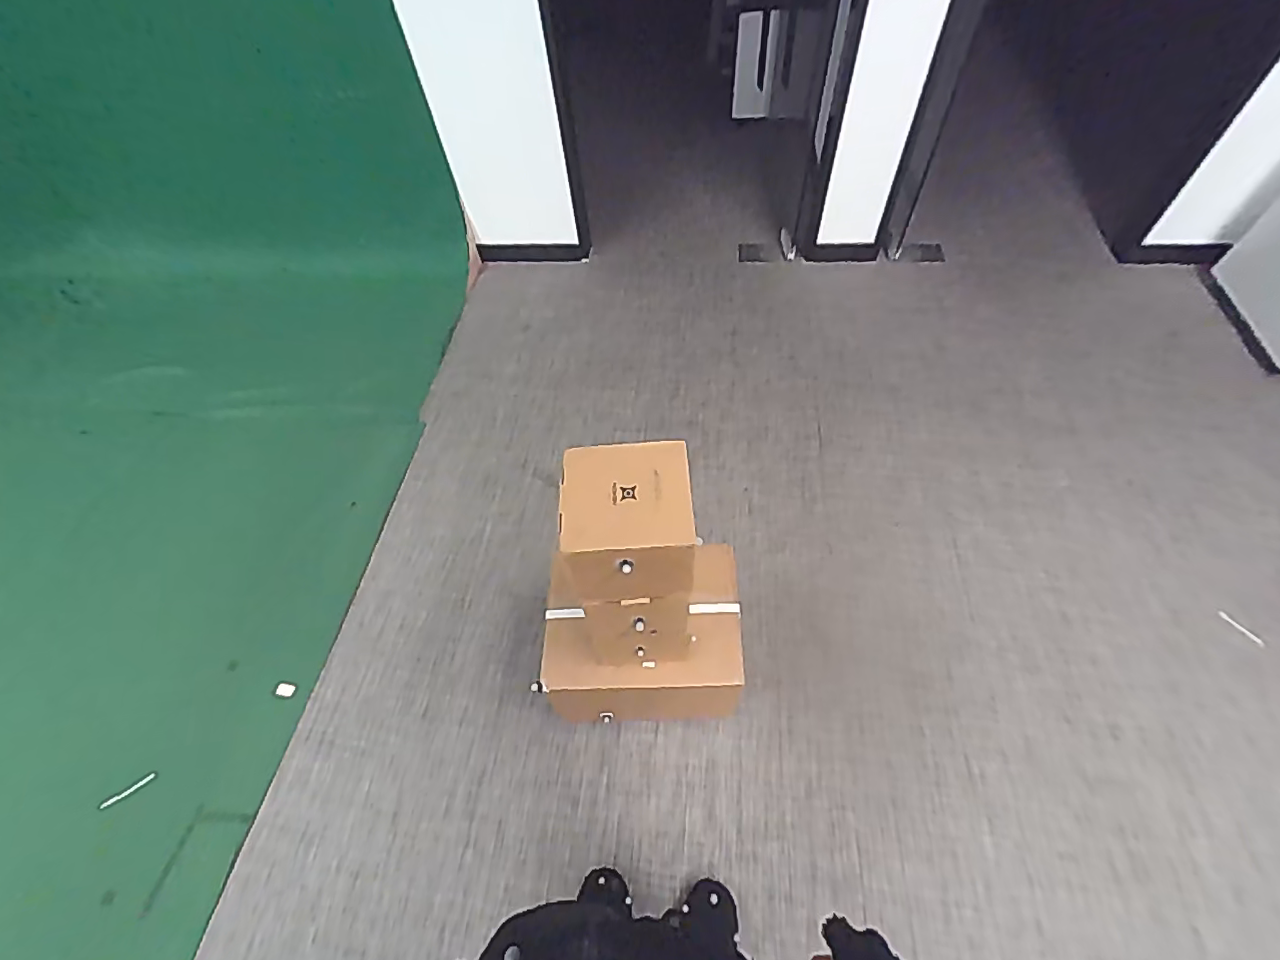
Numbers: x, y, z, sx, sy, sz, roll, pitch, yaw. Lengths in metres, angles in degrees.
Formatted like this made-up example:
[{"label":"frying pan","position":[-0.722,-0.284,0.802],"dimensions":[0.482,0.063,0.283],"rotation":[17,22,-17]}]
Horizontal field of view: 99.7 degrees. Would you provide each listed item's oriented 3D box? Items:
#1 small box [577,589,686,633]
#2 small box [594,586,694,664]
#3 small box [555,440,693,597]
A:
[{"label":"small box","position":[-0.012,0.151,0.915],"dimensions":[0.168,0.176,0.179],"rotation":[-5,56,1]},{"label":"small box","position":[0.004,0.246,1.047],"dimensions":[0.179,0.176,0.168],"rotation":[-6,56,-1]},{"label":"small box","position":[-0.017,0.062,0.779],"dimensions":[0.179,0.176,0.168],"rotation":[-4,57,1]}]
